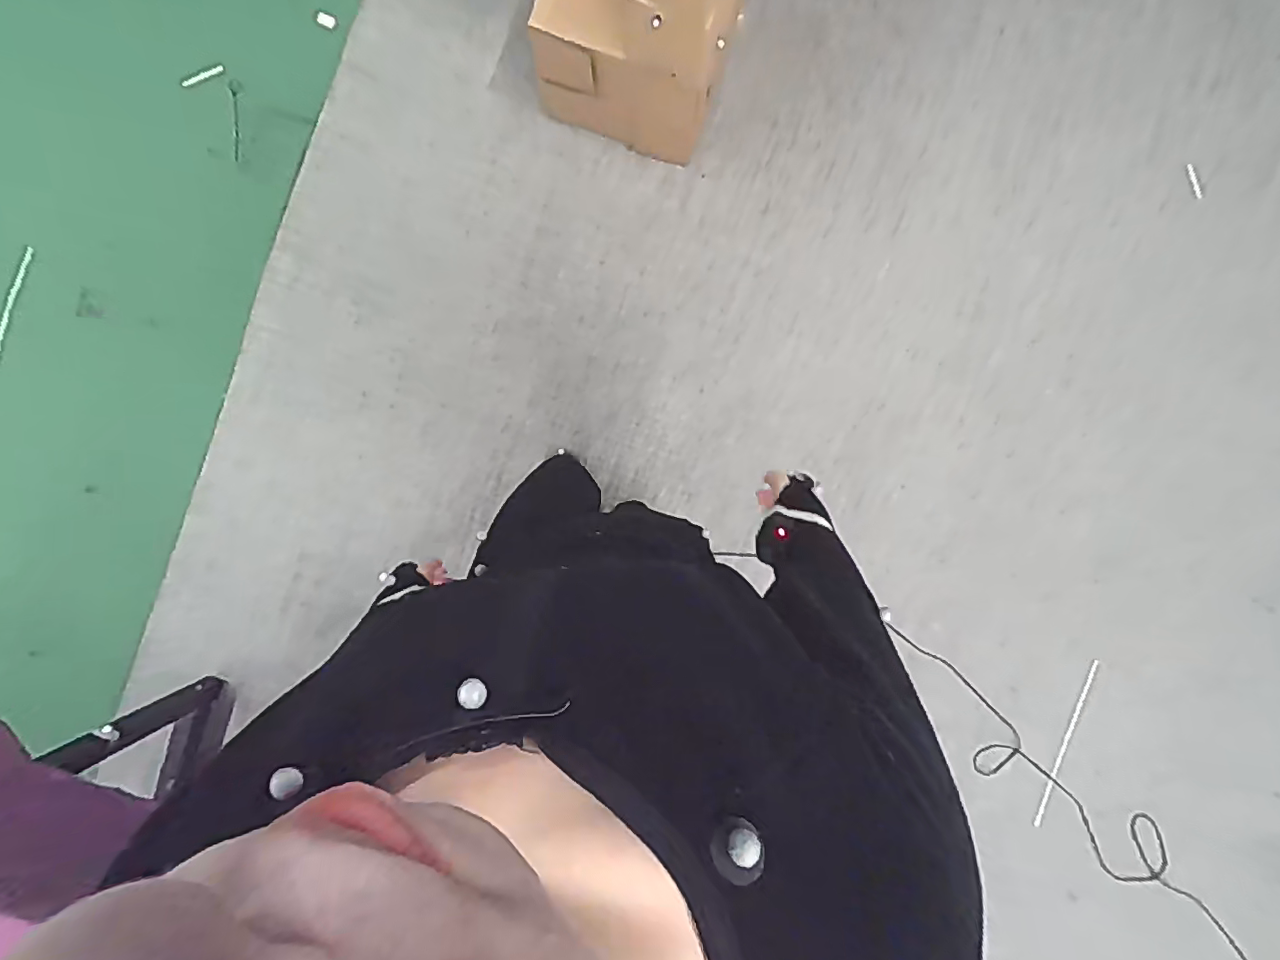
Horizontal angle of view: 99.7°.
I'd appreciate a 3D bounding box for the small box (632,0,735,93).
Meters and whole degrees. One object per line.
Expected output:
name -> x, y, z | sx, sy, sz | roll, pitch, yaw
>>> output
small box -> 0.087, -0.939, 1.083 | 0.168, 0.176, 0.179 | 24, 90, 0
